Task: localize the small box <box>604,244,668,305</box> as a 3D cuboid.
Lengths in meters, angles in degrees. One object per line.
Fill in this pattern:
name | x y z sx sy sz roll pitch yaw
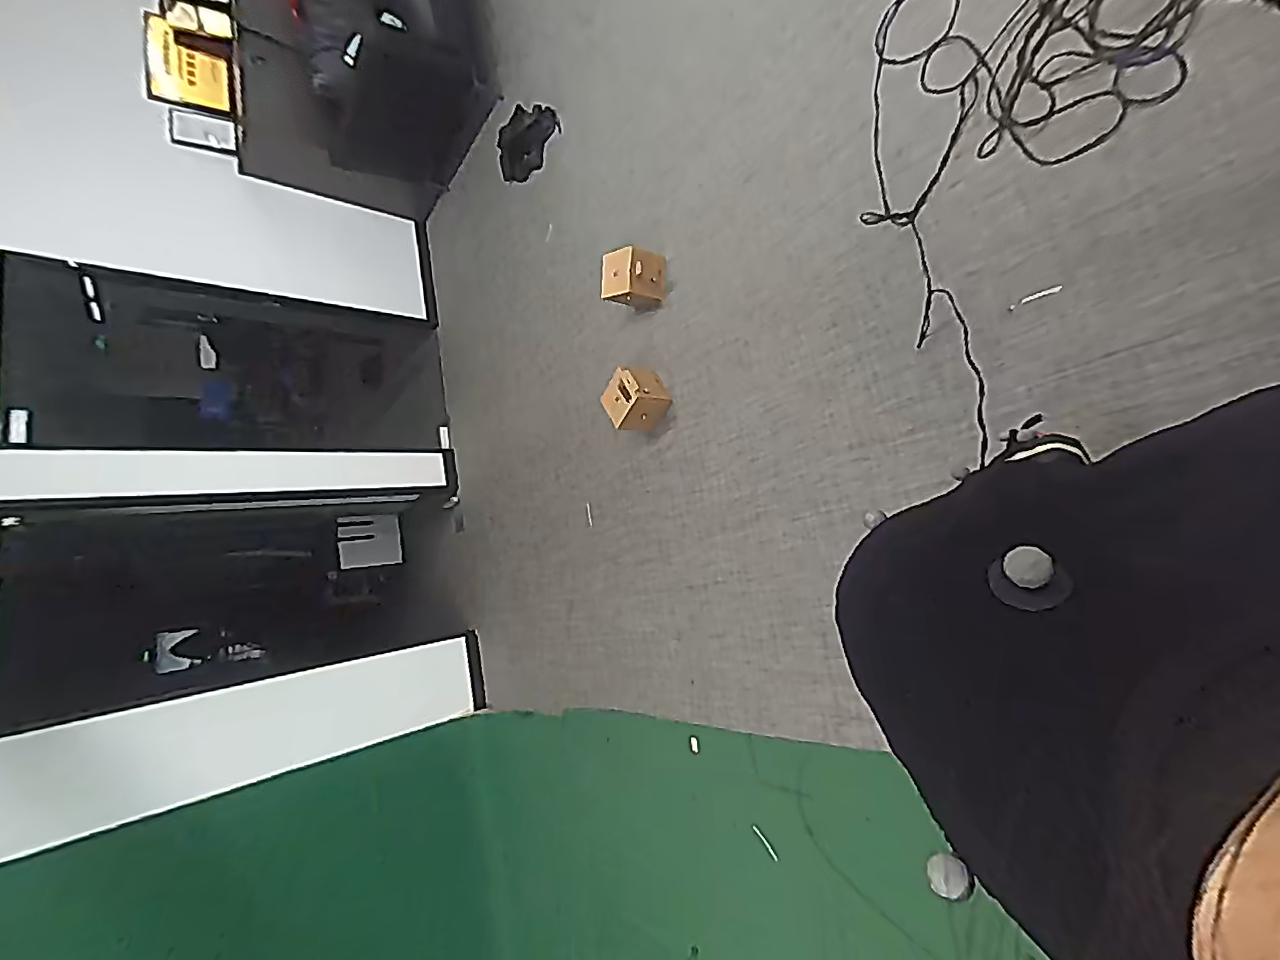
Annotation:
small box | -0.017 -0.775 2.058 0.179 0.176 0.168 9 98 49
